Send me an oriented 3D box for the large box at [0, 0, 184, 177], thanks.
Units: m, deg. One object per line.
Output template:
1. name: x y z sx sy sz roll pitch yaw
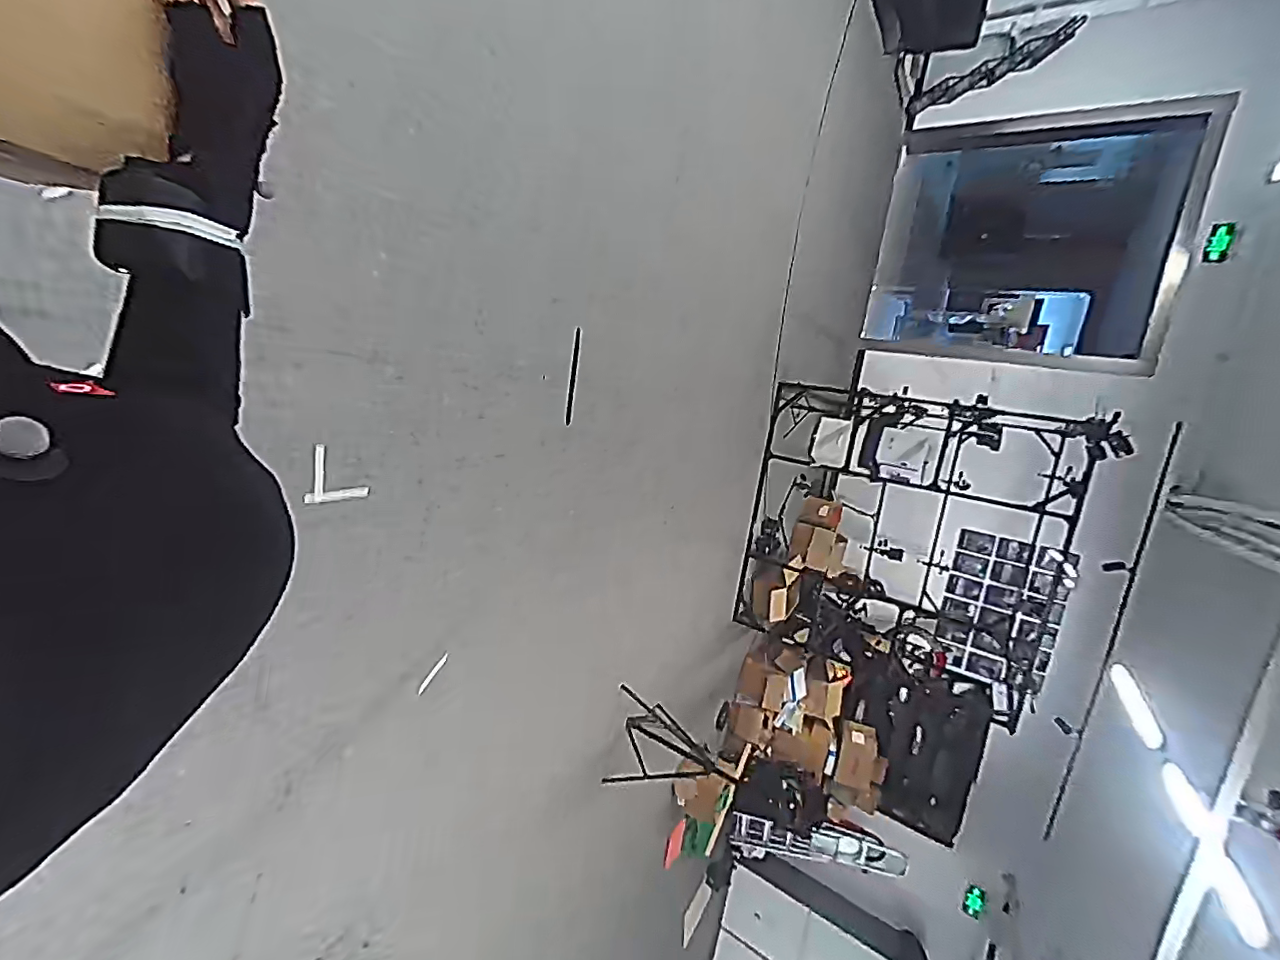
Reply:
1. large box: -0.542 -0.408 0.276 0.408 0.320 0.320 -1 109 -62
